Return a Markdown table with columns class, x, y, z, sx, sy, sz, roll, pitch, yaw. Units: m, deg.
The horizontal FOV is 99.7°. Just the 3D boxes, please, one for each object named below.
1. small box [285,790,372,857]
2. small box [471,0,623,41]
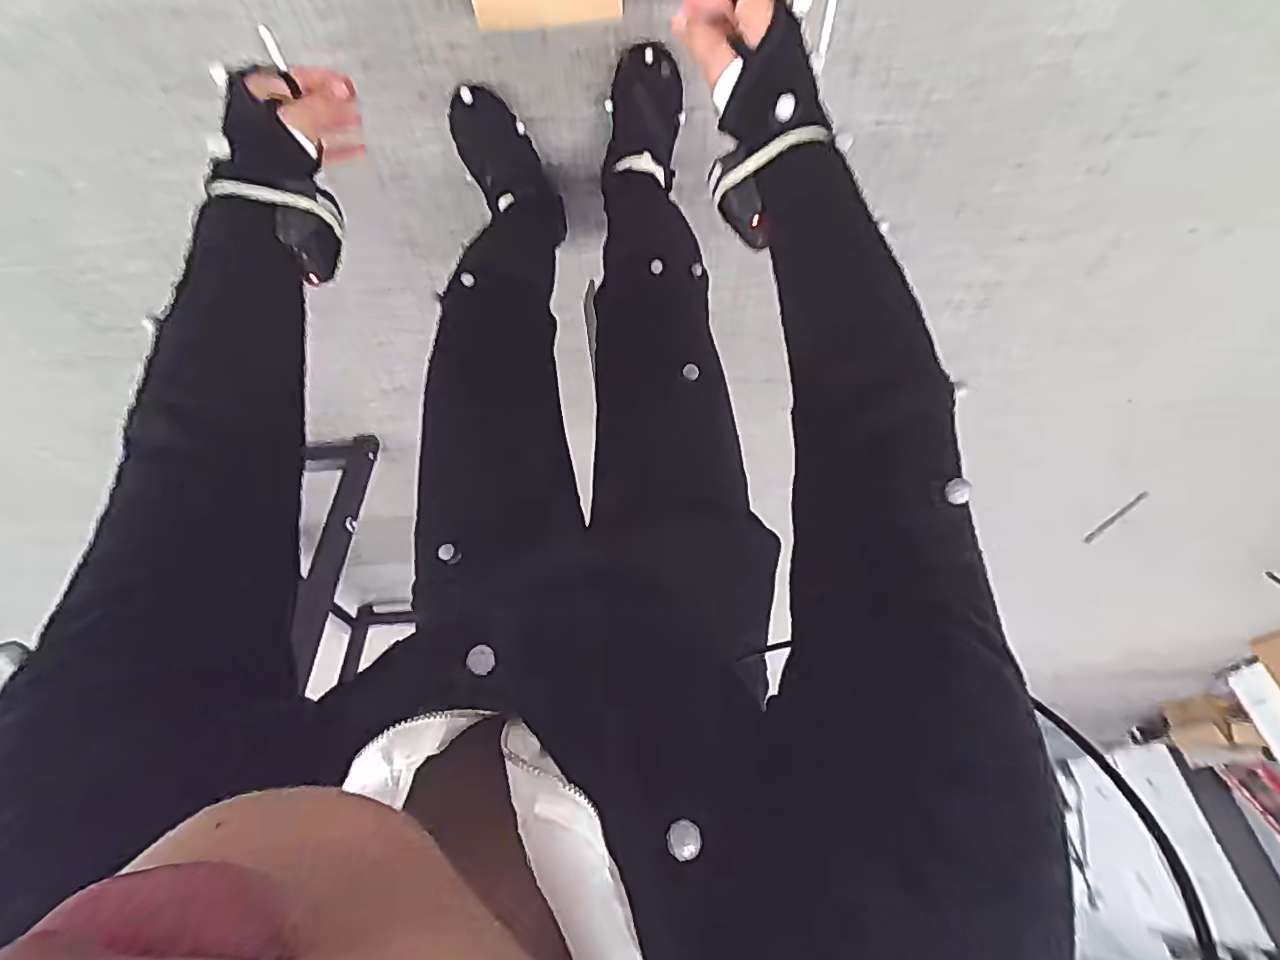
| class | x | y | z | sx | sy | sz | roll | pitch | yaw |
| --- | --- | --- | --- | --- | --- | --- | --- | --- | --- |
| small box | -0.976 | 1.091 | 1.717 | 0.179 | 0.176 | 0.168 | -1 | 143 | -1 |
| small box | -0.115 | -0.649 | 0.635 | 0.179 | 0.176 | 0.168 | -3 | 143 | 2 |
